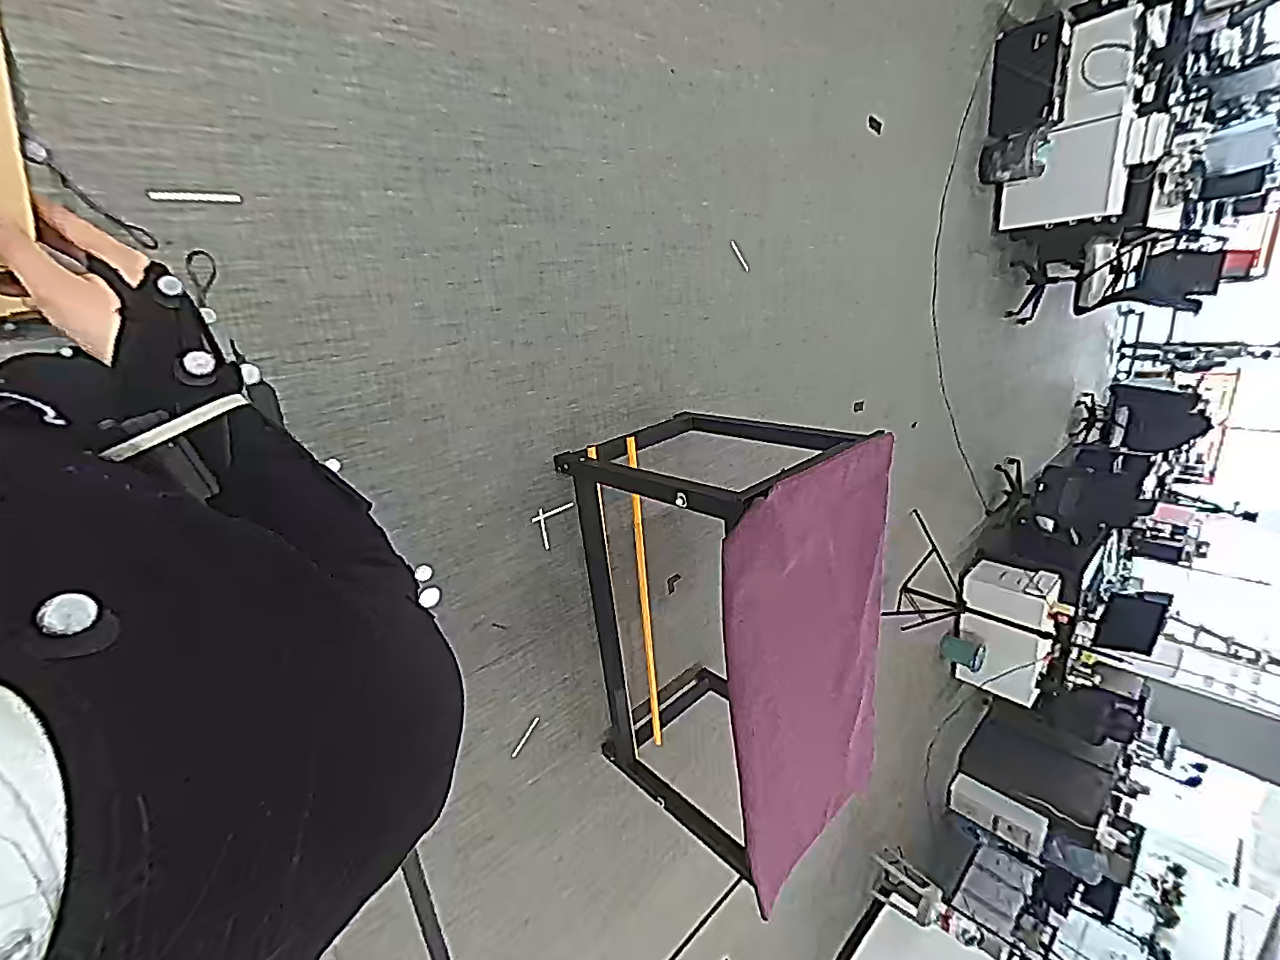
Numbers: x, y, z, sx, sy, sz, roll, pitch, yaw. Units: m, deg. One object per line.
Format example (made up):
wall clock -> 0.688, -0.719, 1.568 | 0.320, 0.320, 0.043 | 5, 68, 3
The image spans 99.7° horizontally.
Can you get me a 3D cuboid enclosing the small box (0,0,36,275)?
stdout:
small box -> -0.457, -0.212, 0.286 | 0.168, 0.176, 0.179 | -11, 110, -50
